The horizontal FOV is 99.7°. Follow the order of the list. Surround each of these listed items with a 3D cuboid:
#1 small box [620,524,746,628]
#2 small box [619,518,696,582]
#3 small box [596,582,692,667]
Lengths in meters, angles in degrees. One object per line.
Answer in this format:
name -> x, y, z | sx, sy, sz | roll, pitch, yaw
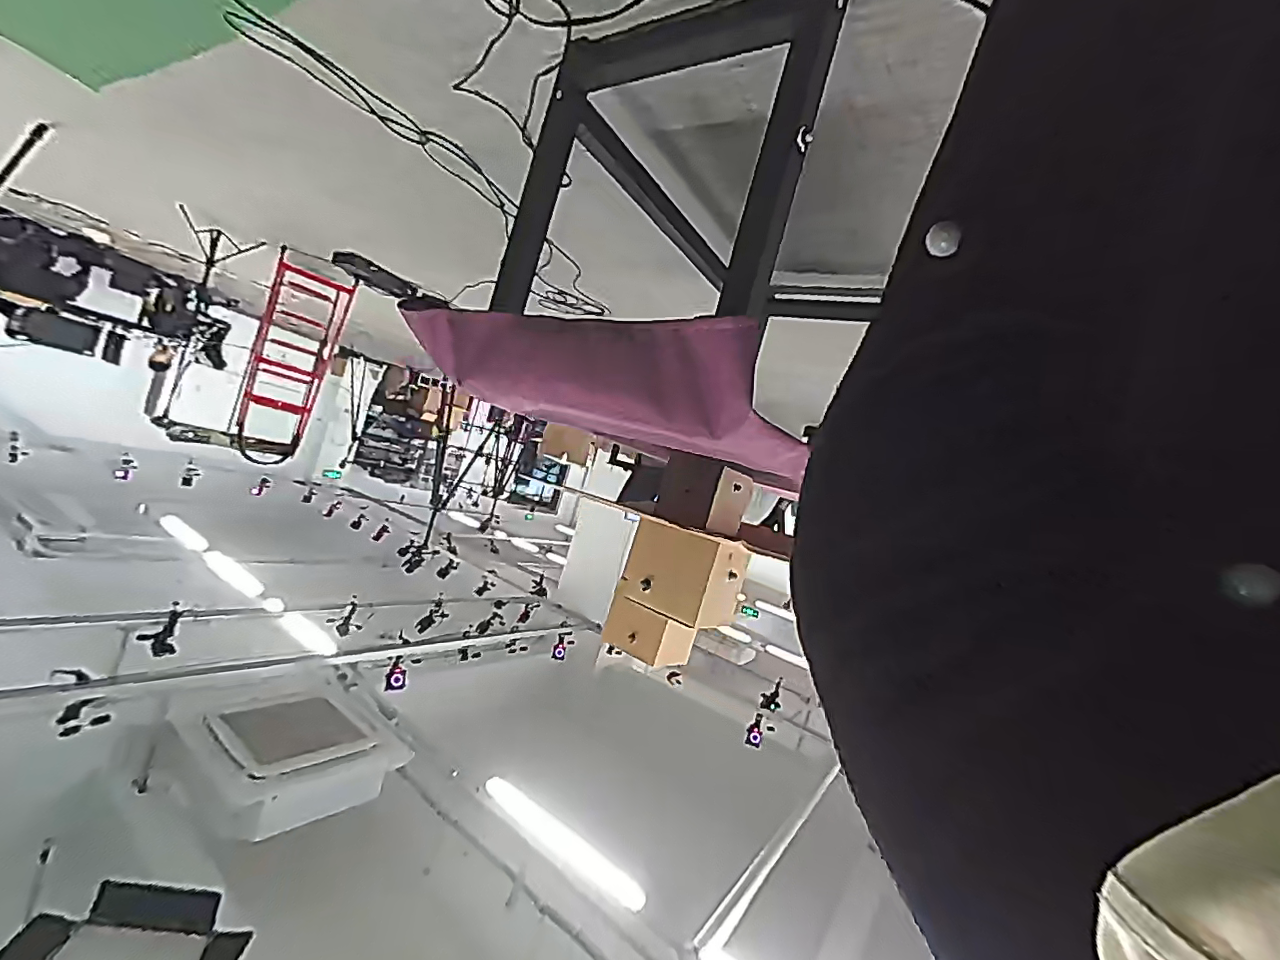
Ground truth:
small box -> 0.092, 0.193, 1.109 | 0.179, 0.176, 0.168 | 15, 177, 35
small box -> 0.079, 0.205, 1.373 | 0.179, 0.176, 0.168 | 16, 176, 36
small box -> 0.023, 0.358, 1.369 | 0.179, 0.176, 0.168 | 14, 174, 37
